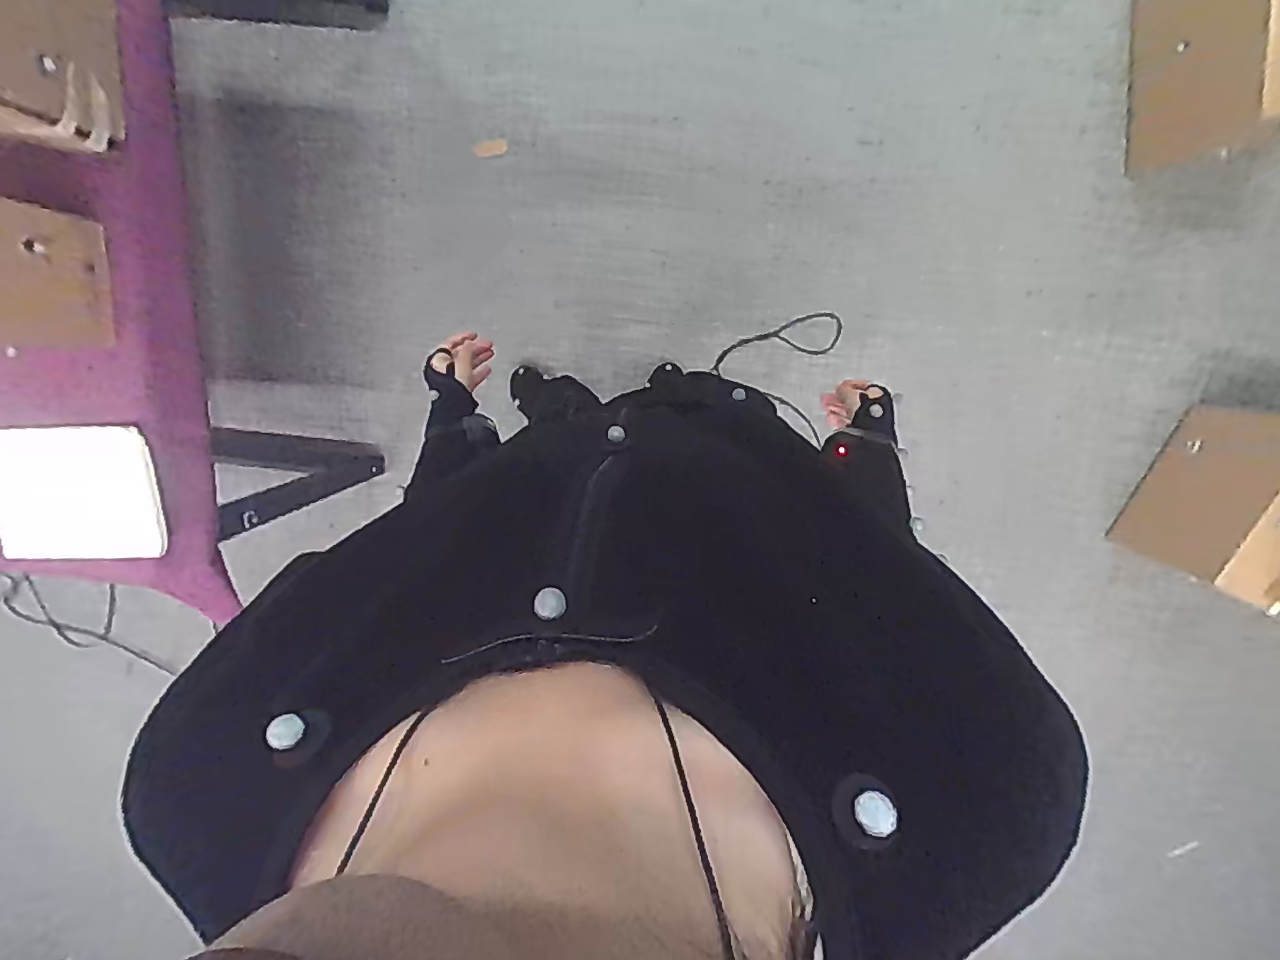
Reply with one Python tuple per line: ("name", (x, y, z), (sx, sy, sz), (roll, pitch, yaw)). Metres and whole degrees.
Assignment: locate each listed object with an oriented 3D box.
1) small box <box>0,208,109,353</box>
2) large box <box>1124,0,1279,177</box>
("small box", (-0.813, -0.251, 0.667), (0.179, 0.176, 0.168), (8, 102, 3))
("large box", (1.268, -0.907, 1.099), (0.320, 0.320, 0.408), (-9, 101, 4))
